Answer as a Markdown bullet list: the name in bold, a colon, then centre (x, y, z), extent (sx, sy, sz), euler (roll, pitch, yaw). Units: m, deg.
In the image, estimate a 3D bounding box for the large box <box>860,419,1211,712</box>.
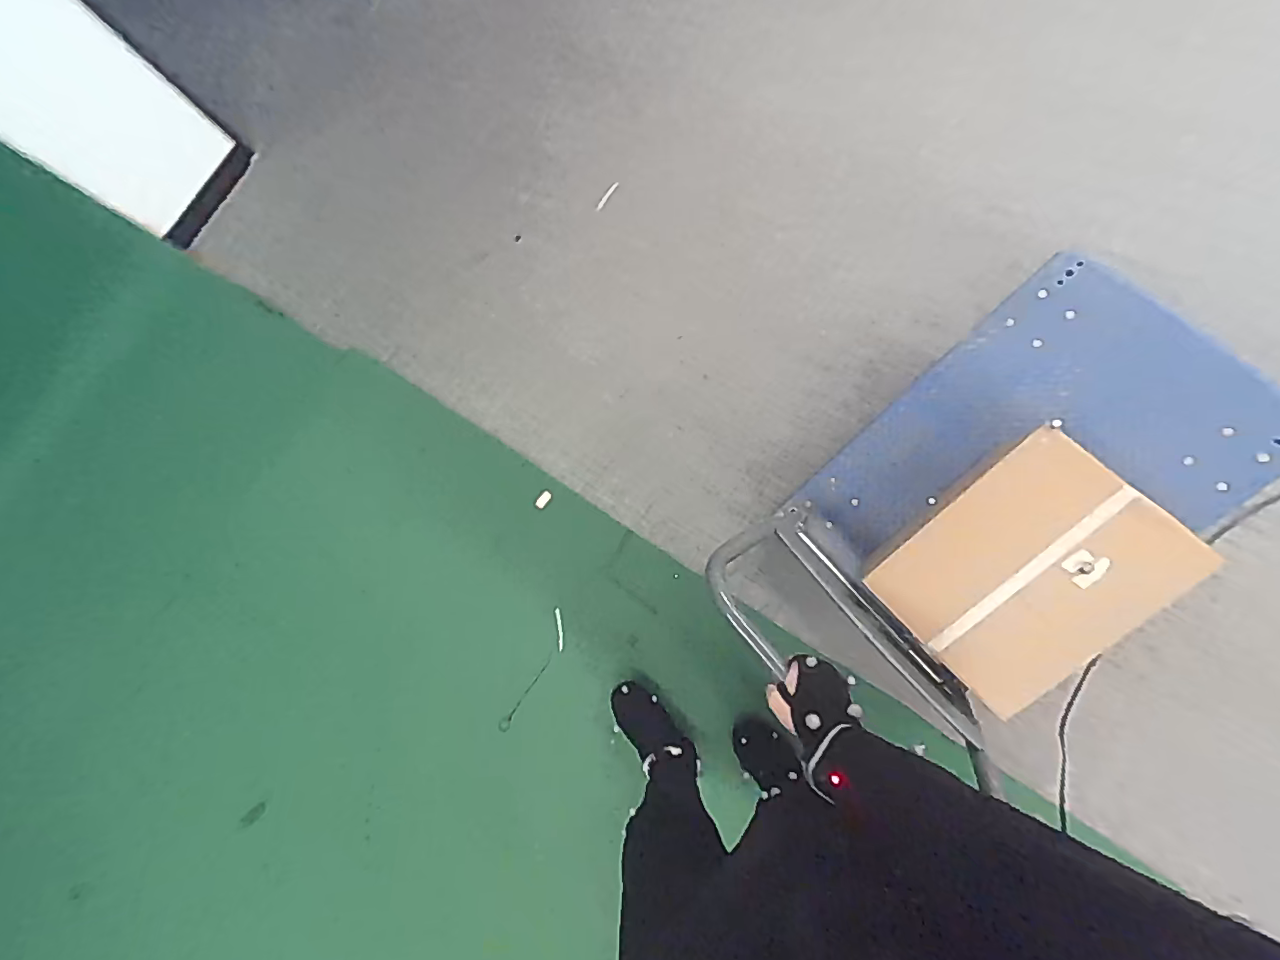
- **large box**: centre (0.685, 0.153, 1.035), extent (0.408, 0.320, 0.320), euler (-46, 73, 13)
